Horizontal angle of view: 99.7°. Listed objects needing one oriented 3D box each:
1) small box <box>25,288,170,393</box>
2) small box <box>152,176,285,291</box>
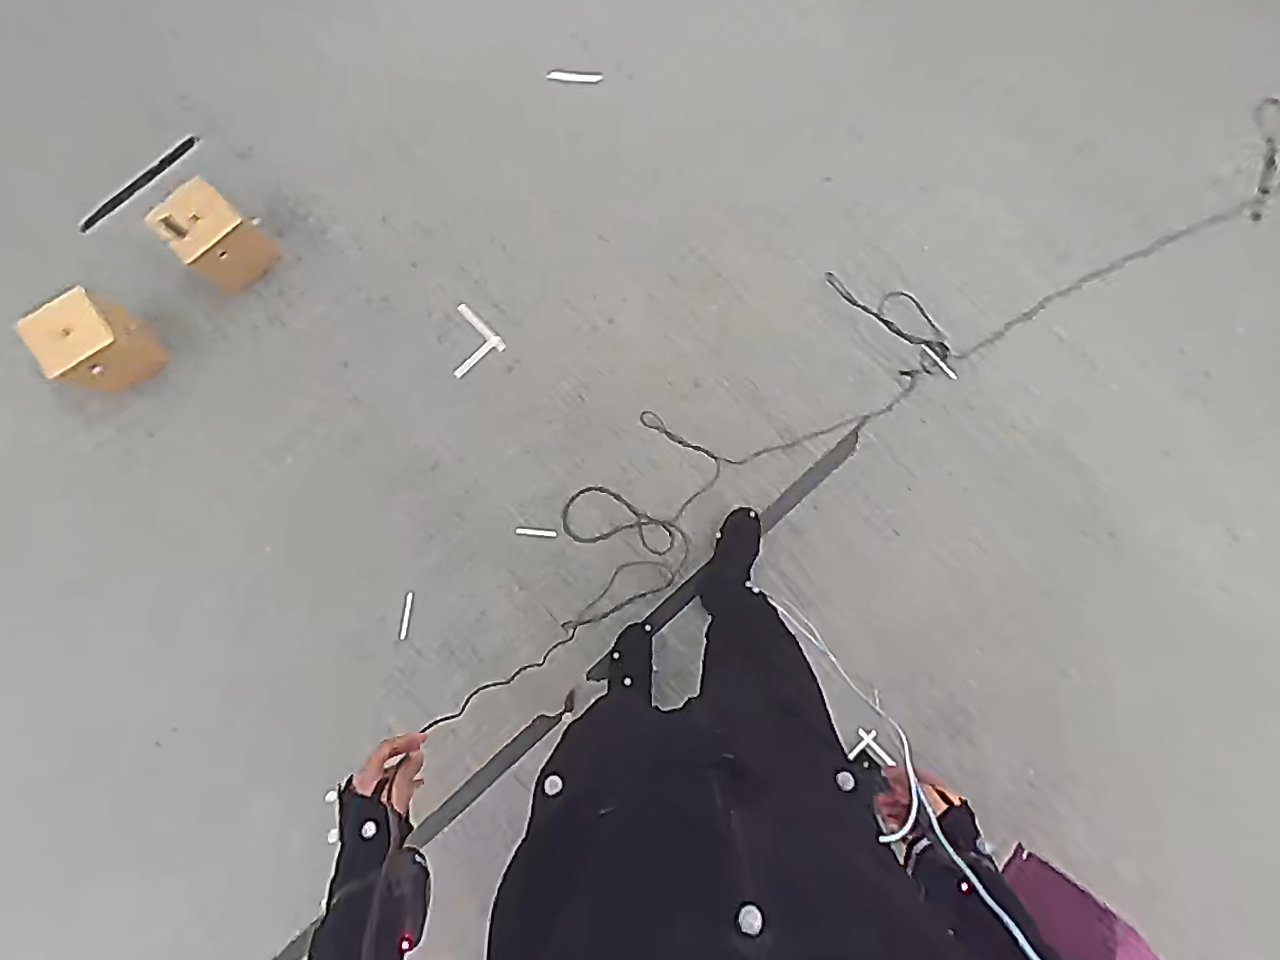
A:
[{"bbox_3d":[-1.359,-0.347,1.375,0.179,0.176,0.168,-35,87,-3],"label":"small box"},{"bbox_3d":[-1.083,-0.629,1.406,0.179,0.176,0.168,-44,88,-6],"label":"small box"}]
